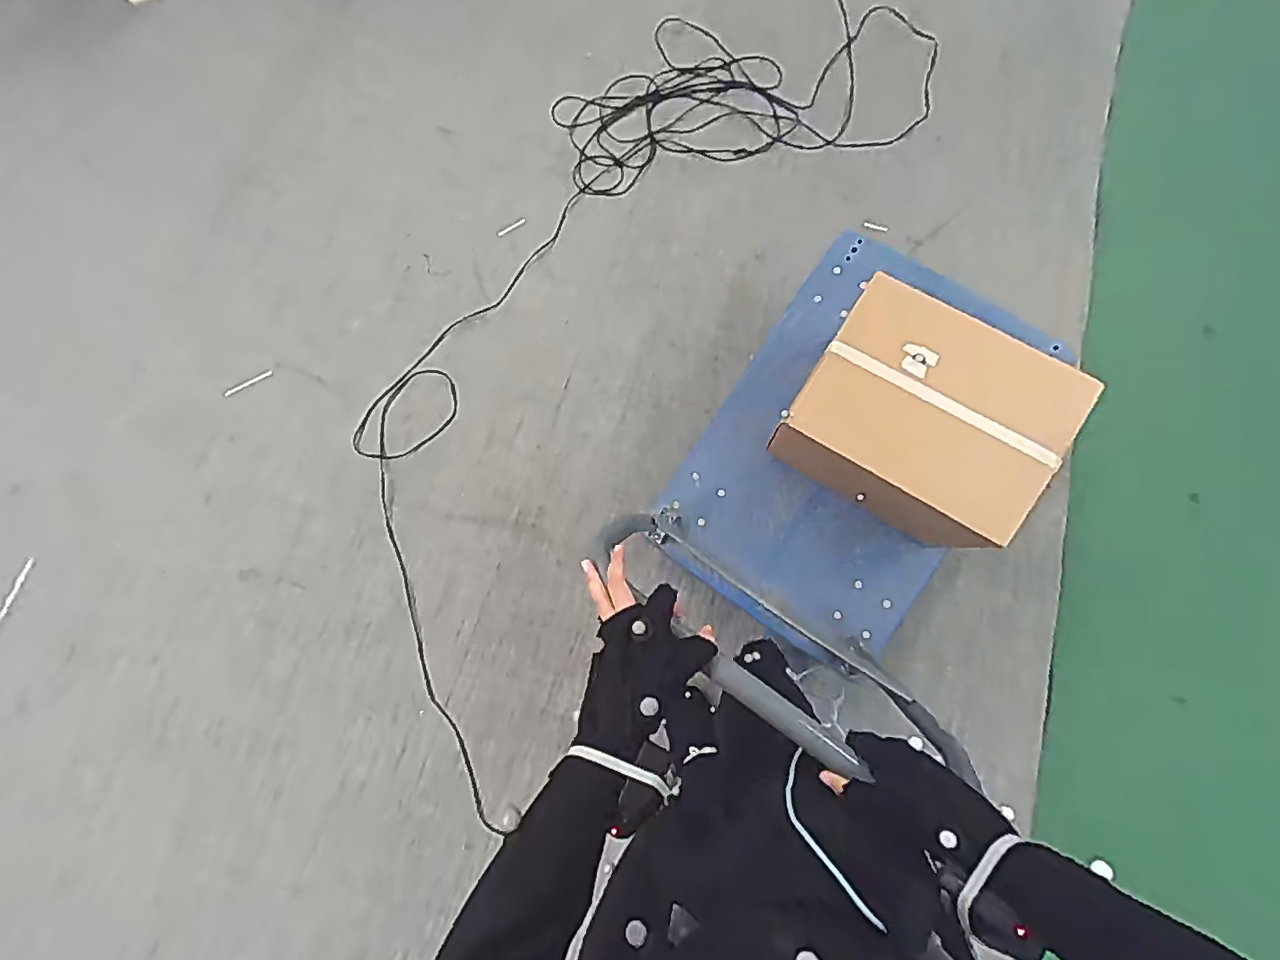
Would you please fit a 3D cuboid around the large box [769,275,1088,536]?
[{"bbox_3d":[0.513,-0.121,1.060,0.408,0.320,0.320,31,90,11],"label":"large box"}]
